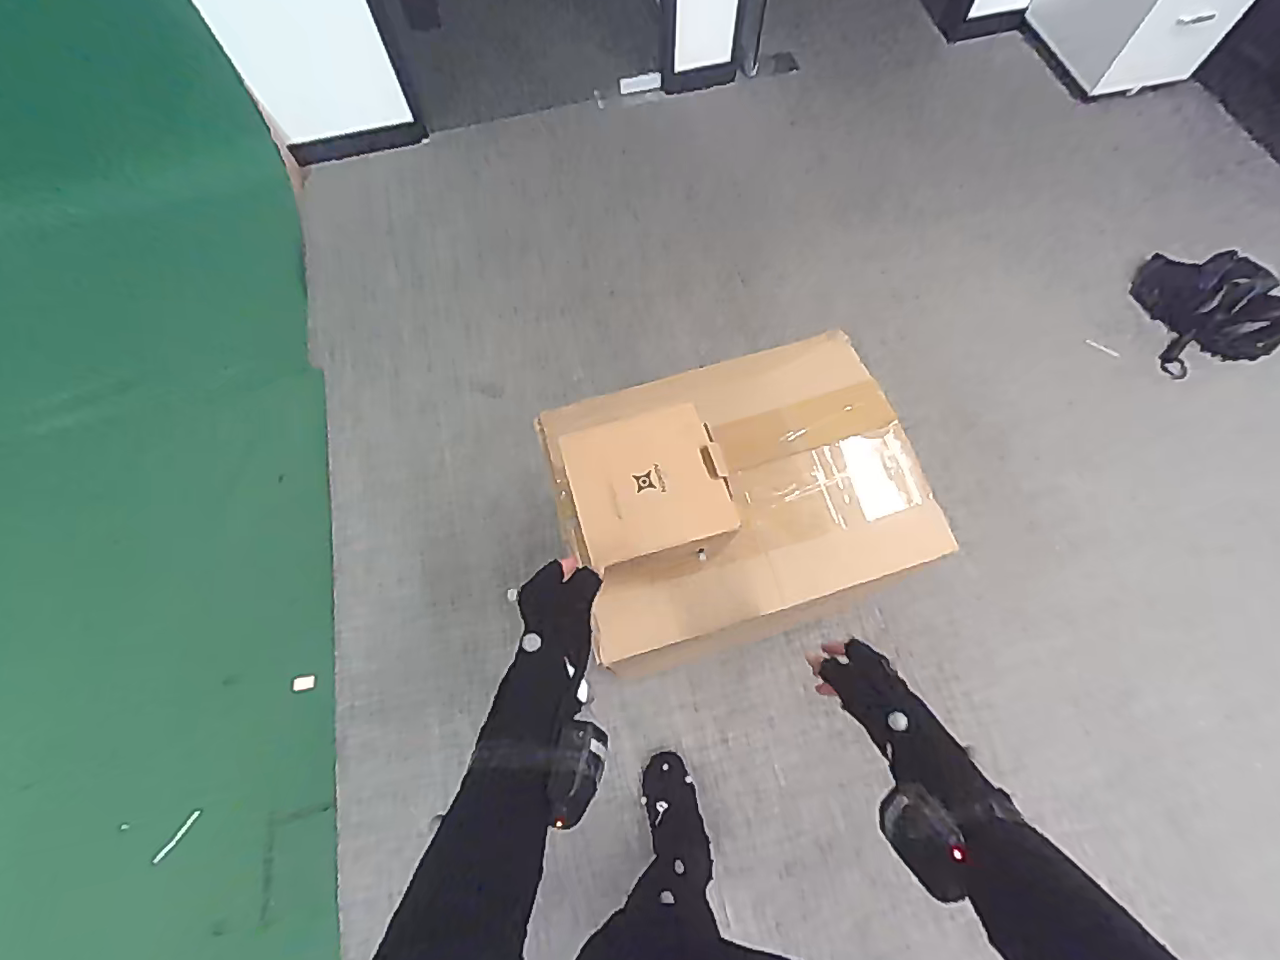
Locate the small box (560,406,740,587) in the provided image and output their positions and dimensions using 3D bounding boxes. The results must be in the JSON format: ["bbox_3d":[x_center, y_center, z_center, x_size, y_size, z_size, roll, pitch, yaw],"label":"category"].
[{"bbox_3d":[0.009,0.030,0.701,0.179,0.176,0.168,-17,72,-4],"label":"small box"}]
